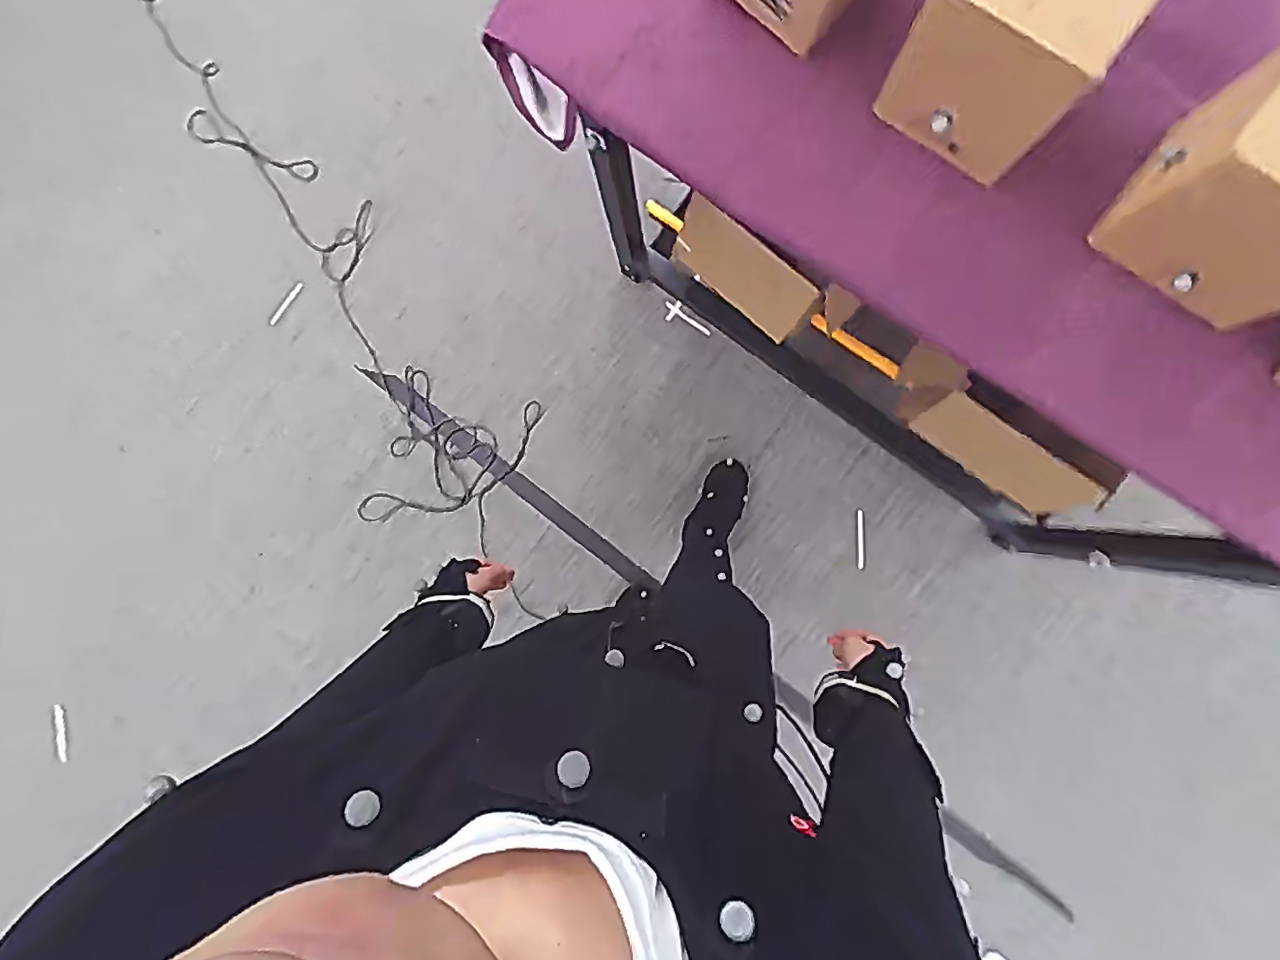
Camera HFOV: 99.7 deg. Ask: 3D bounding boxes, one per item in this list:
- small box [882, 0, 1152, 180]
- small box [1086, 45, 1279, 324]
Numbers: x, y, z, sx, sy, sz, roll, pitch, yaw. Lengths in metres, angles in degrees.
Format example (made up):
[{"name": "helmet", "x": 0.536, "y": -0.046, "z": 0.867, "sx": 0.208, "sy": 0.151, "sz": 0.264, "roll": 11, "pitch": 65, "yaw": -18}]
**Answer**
[{"name": "small box", "x": 0.386, "y": -0.464, "z": 0.557, "sx": 0.168, "sy": 0.176, "sz": 0.179, "roll": 36, "pitch": 91, "yaw": 5}, {"name": "small box", "x": 0.618, "y": -0.293, "z": 0.529, "sx": 0.179, "sy": 0.176, "sz": 0.168, "roll": 38, "pitch": 90, "yaw": 5}]
